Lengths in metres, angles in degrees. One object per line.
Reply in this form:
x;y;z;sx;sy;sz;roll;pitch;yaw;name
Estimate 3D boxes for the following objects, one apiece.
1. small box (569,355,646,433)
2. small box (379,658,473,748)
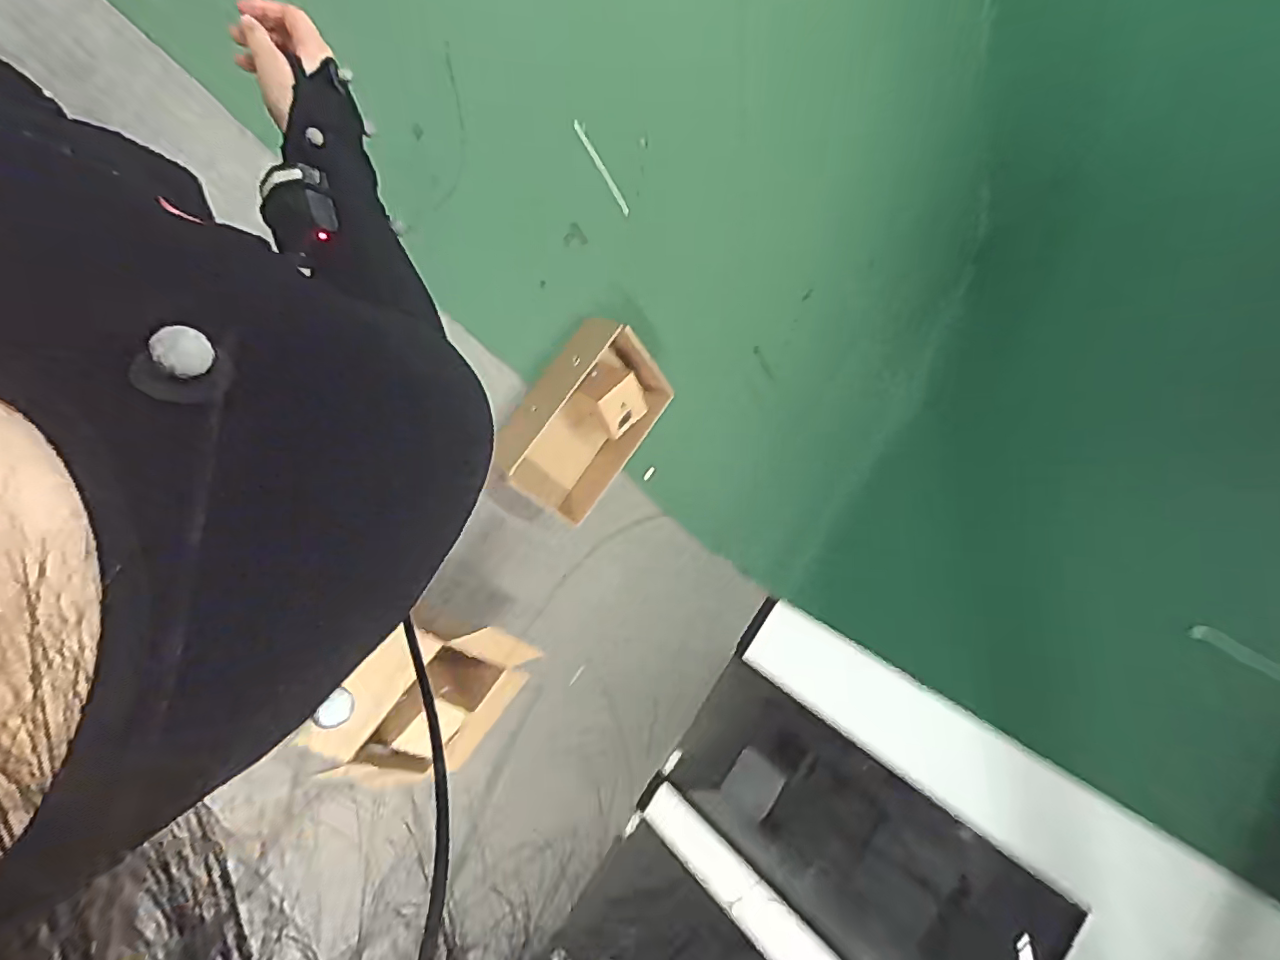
-0.112;-0.299;1.851;0.168;0.176;0.179;-44;139;-18;small box
-0.654;0.673;1.646;0.168;0.176;0.179;-46;139;-12;small box
